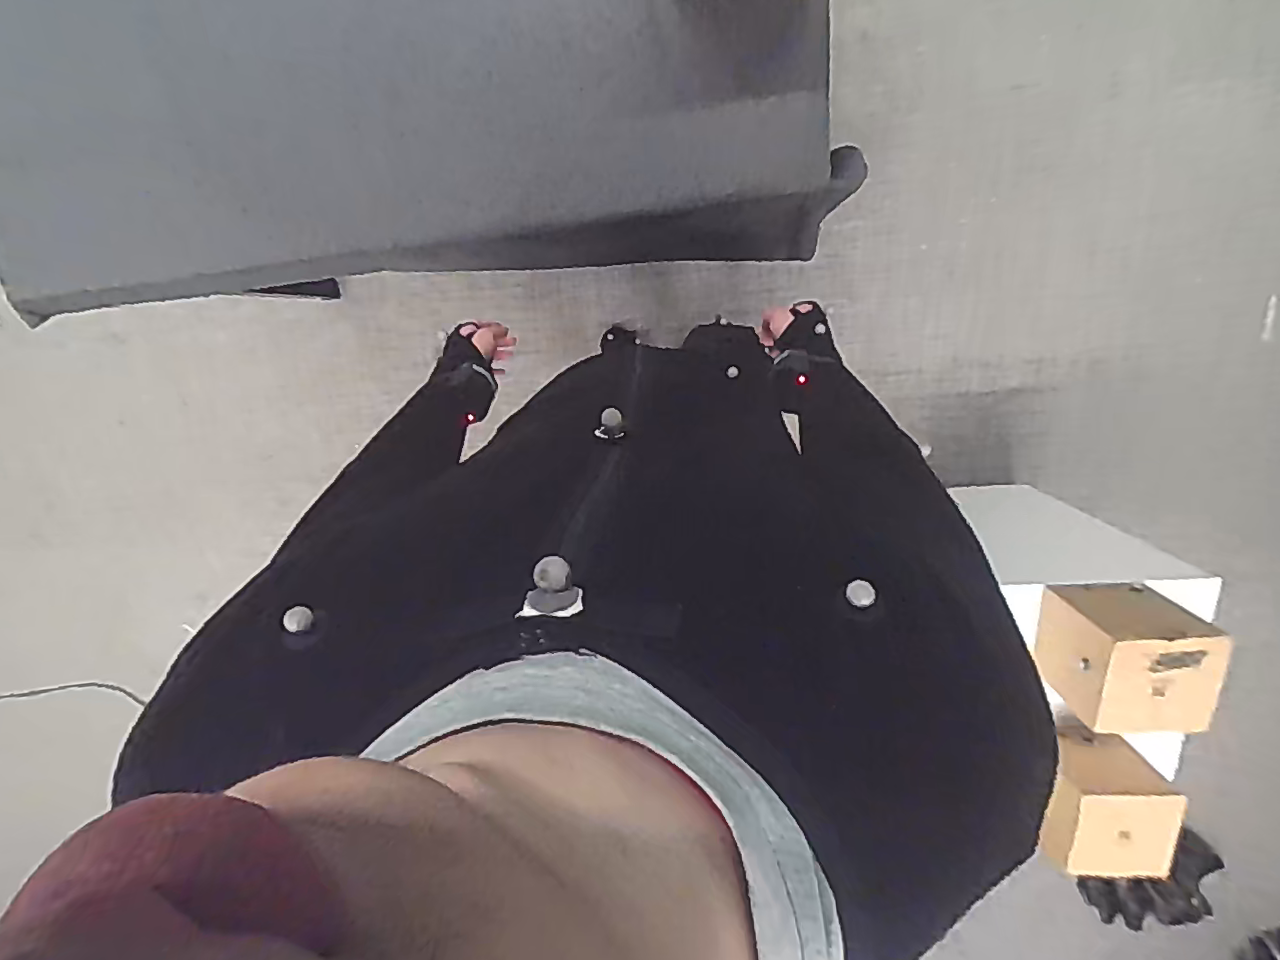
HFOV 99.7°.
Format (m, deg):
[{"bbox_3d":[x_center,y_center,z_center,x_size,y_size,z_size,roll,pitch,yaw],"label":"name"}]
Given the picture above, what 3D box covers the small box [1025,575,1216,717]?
[{"bbox_3d":[0.796,0.272,0.920,0.168,0.176,0.179,-3,110,4],"label":"small box"}]
